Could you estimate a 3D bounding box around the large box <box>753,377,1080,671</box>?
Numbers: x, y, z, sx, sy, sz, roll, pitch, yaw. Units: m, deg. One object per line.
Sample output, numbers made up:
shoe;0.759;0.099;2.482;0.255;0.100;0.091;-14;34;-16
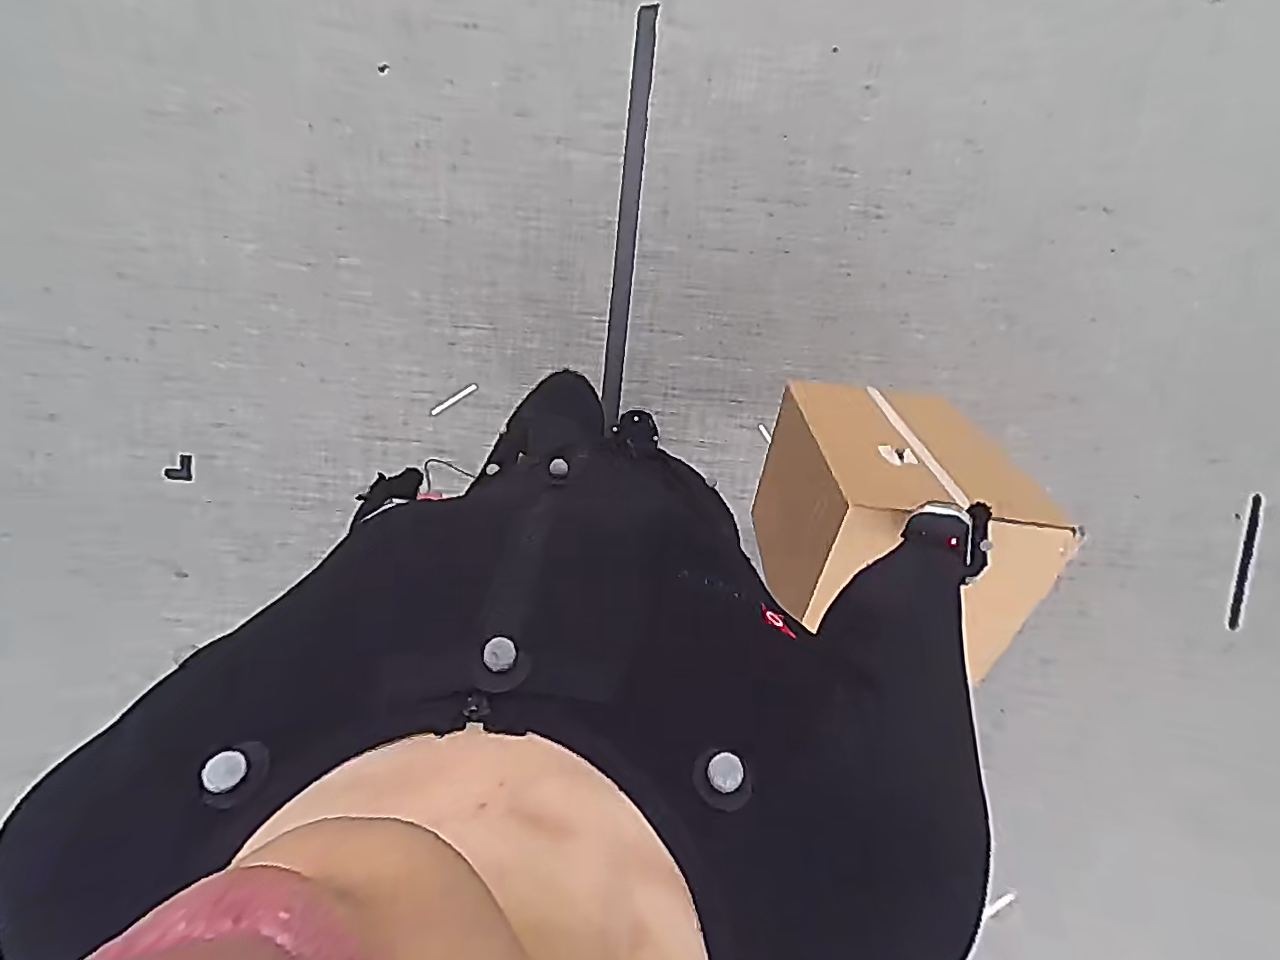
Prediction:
large box;0.409;0.059;0.943;0.320;0.408;0.320;6;125;-2
